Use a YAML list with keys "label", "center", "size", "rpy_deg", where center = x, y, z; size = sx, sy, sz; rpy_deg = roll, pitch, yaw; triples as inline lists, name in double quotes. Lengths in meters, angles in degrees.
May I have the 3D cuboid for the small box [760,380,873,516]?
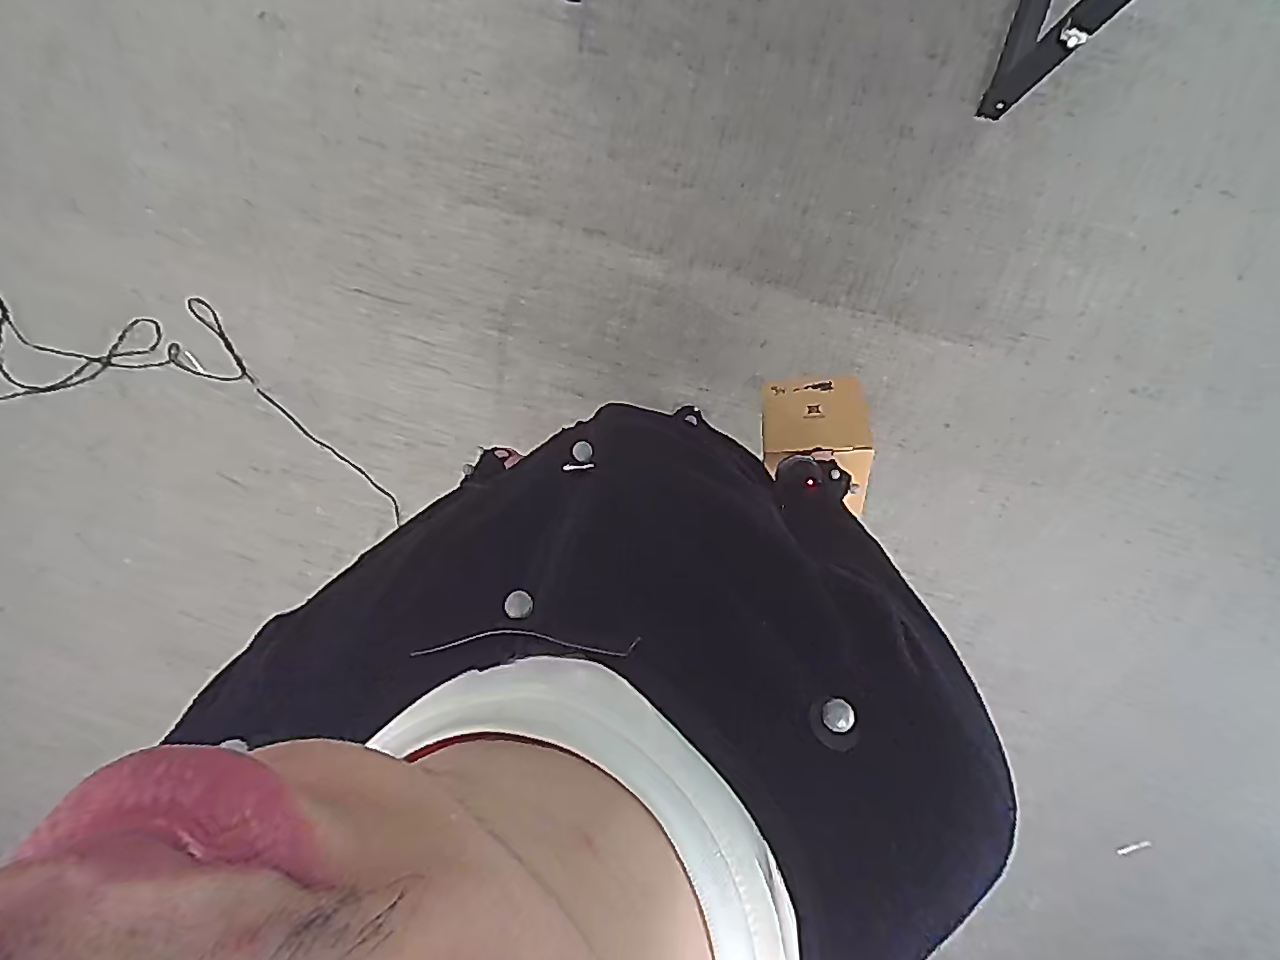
- label: "small box"
  center: [0.305, -0.049, 0.954]
  size: [0.168, 0.179, 0.176]
  rpy_deg: [-5, 138, 12]
